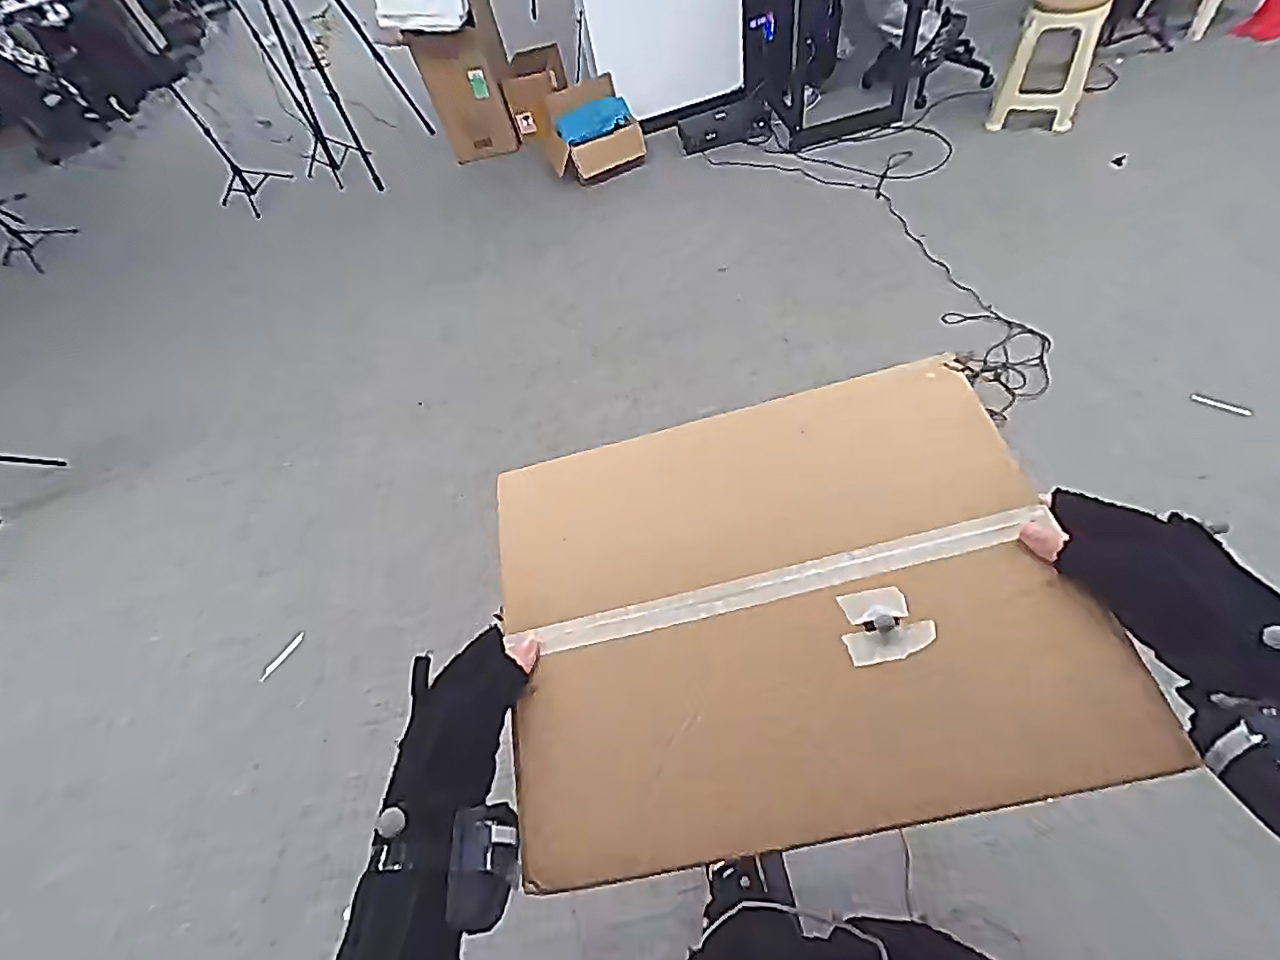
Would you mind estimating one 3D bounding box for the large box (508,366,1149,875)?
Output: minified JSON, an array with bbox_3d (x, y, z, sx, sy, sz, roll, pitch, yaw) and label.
[{"bbox_3d":[0.123,0.149,0.546,0.408,0.320,0.320,-15,62,5],"label":"large box"}]
